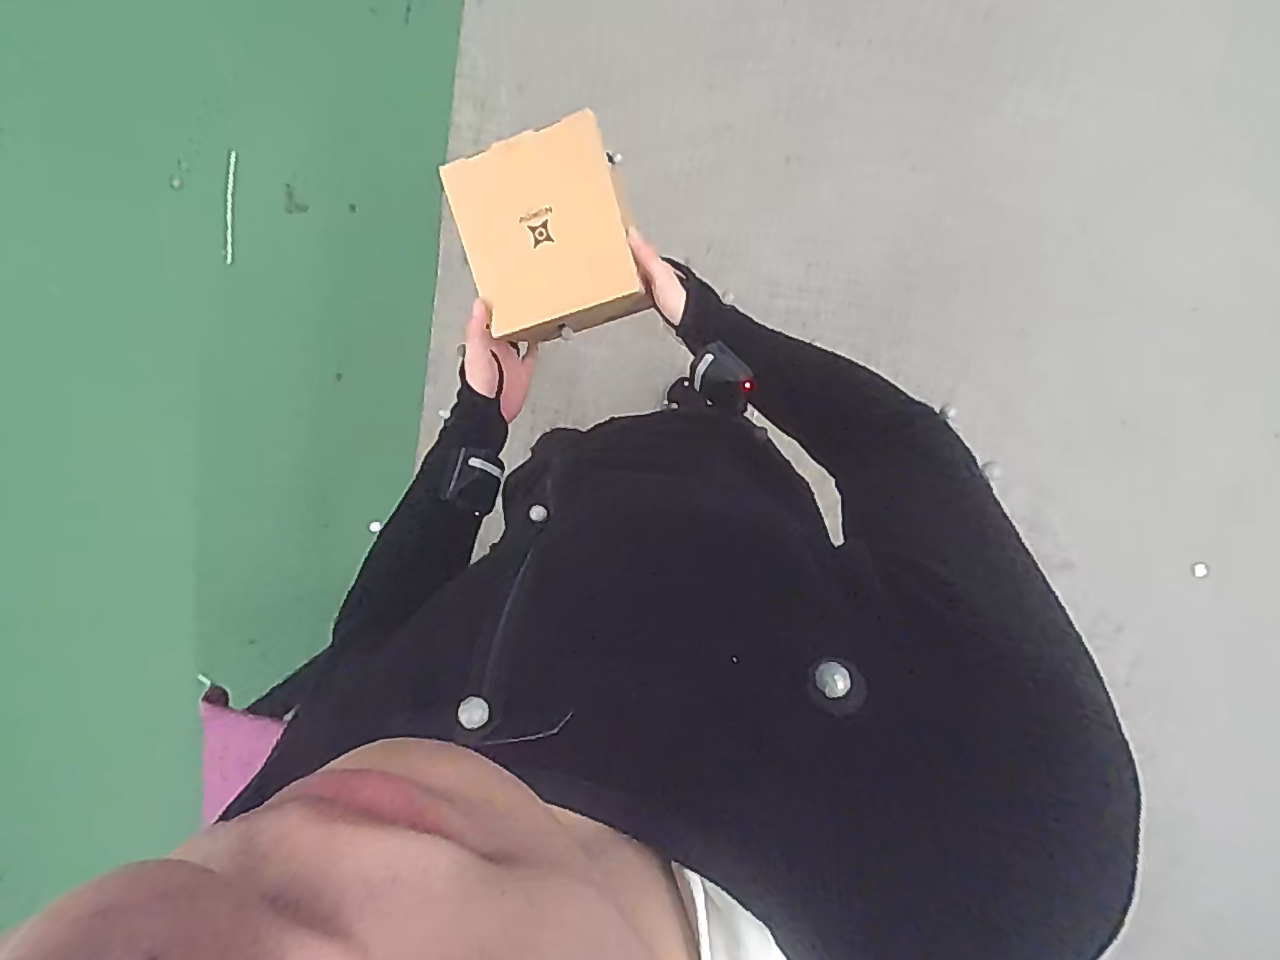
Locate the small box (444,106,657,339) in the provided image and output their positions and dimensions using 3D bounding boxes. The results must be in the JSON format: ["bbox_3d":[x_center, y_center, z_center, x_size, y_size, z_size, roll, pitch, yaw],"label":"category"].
[{"bbox_3d":[-0.083,-0.264,0.604,0.168,0.176,0.179,-14,100,10],"label":"small box"}]
